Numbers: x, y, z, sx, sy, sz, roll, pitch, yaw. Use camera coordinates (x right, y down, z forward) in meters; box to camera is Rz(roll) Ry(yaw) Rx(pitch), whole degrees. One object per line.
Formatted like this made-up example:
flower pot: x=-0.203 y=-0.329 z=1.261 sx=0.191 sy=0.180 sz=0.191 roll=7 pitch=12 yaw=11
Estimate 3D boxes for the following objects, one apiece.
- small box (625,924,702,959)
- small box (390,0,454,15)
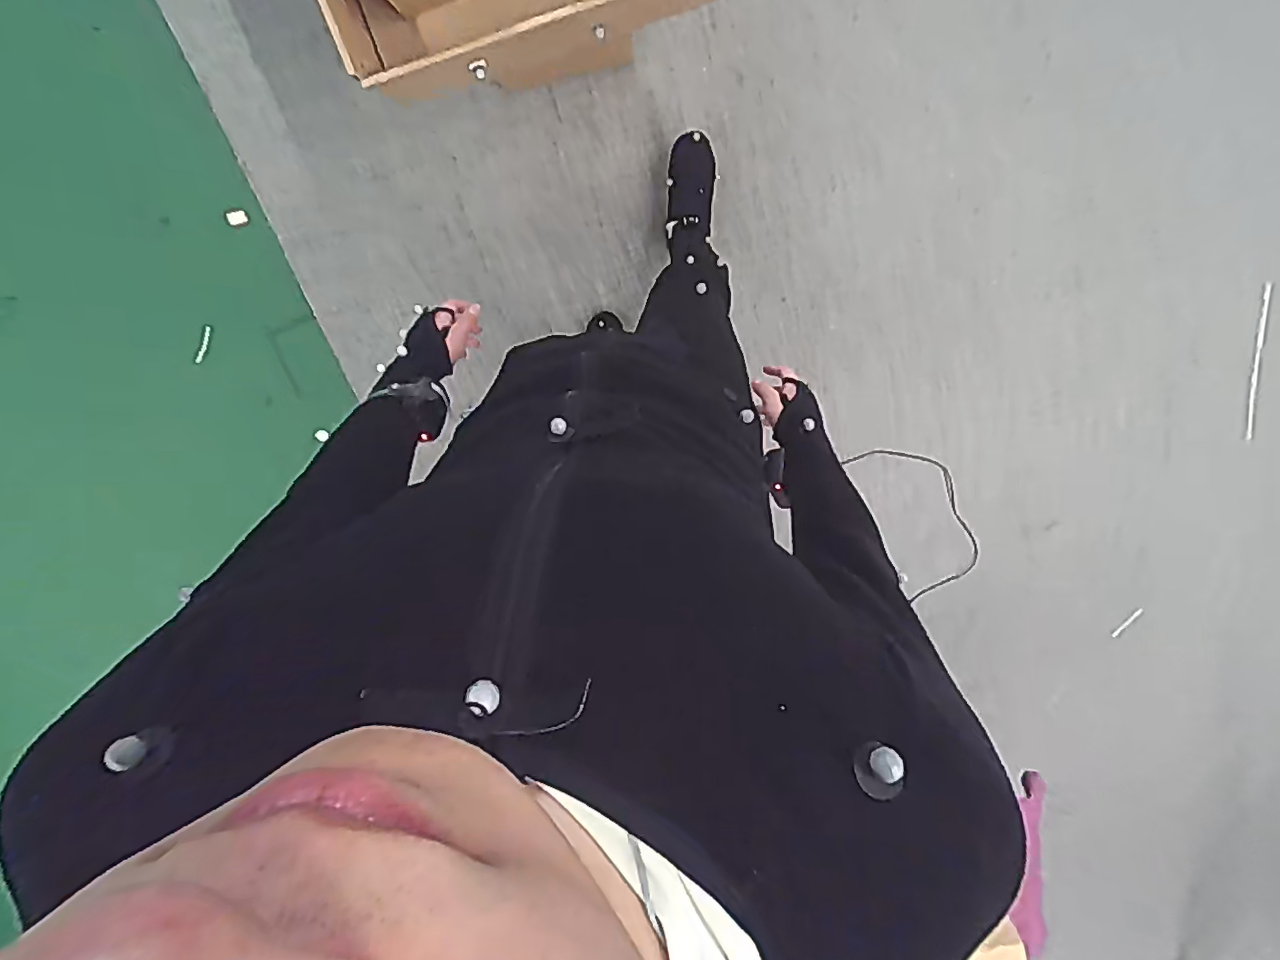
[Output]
small box: x=0.062 y=1.260 z=1.352 sx=0.179 sy=0.176 sz=0.168 roll=-16 pitch=113 yaw=6
small box: x=-0.329 y=-0.824 z=0.783 sx=0.179 sy=0.176 sz=0.168 roll=-16 pitch=113 yaw=4
